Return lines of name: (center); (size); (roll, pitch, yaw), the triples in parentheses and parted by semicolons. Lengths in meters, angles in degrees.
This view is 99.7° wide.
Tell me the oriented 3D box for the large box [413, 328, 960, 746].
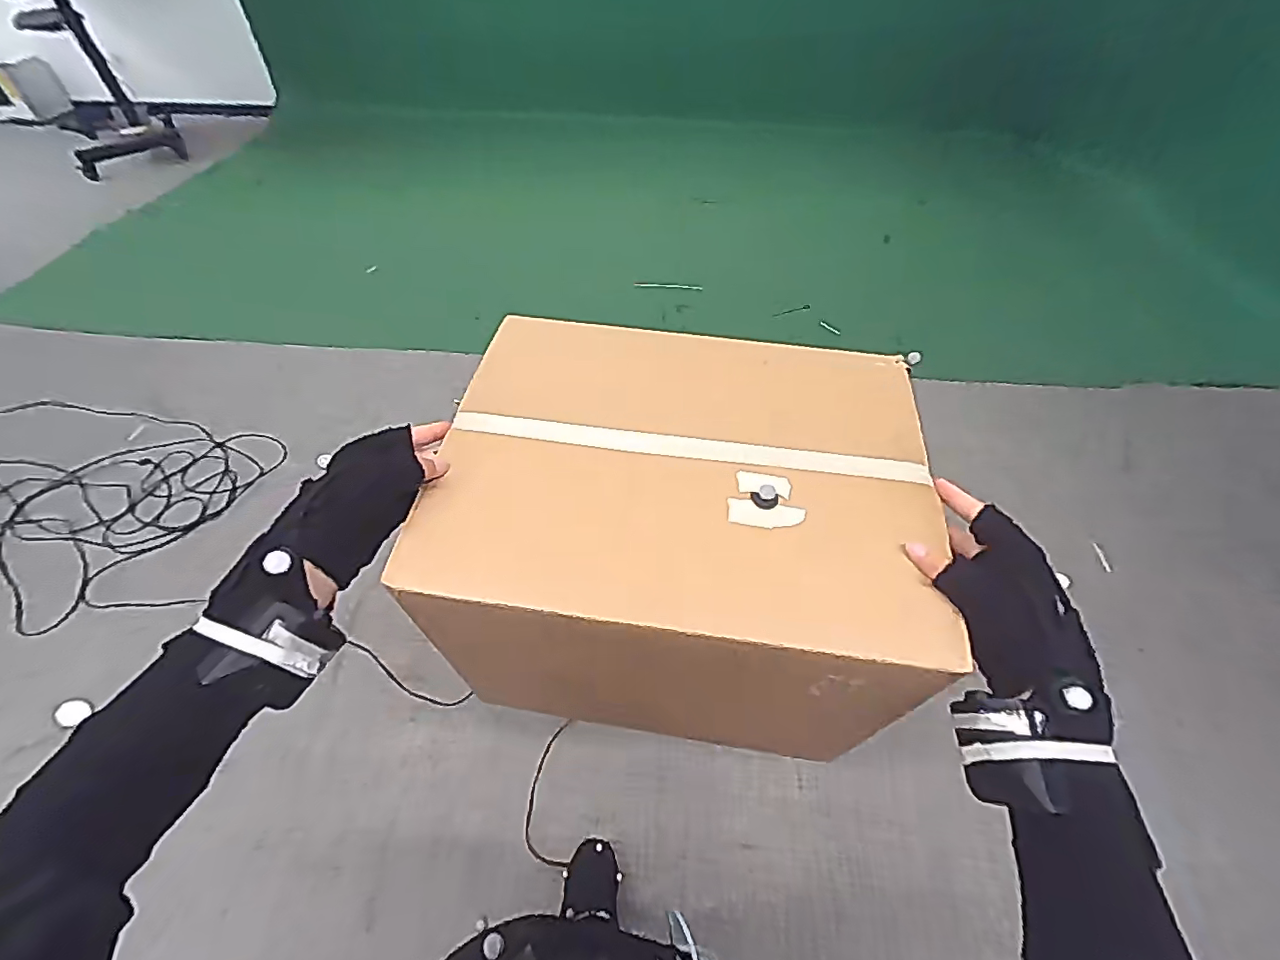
large box: (0.041, 0.069, 0.591); (0.408, 0.320, 0.320); (7, 54, 4)
